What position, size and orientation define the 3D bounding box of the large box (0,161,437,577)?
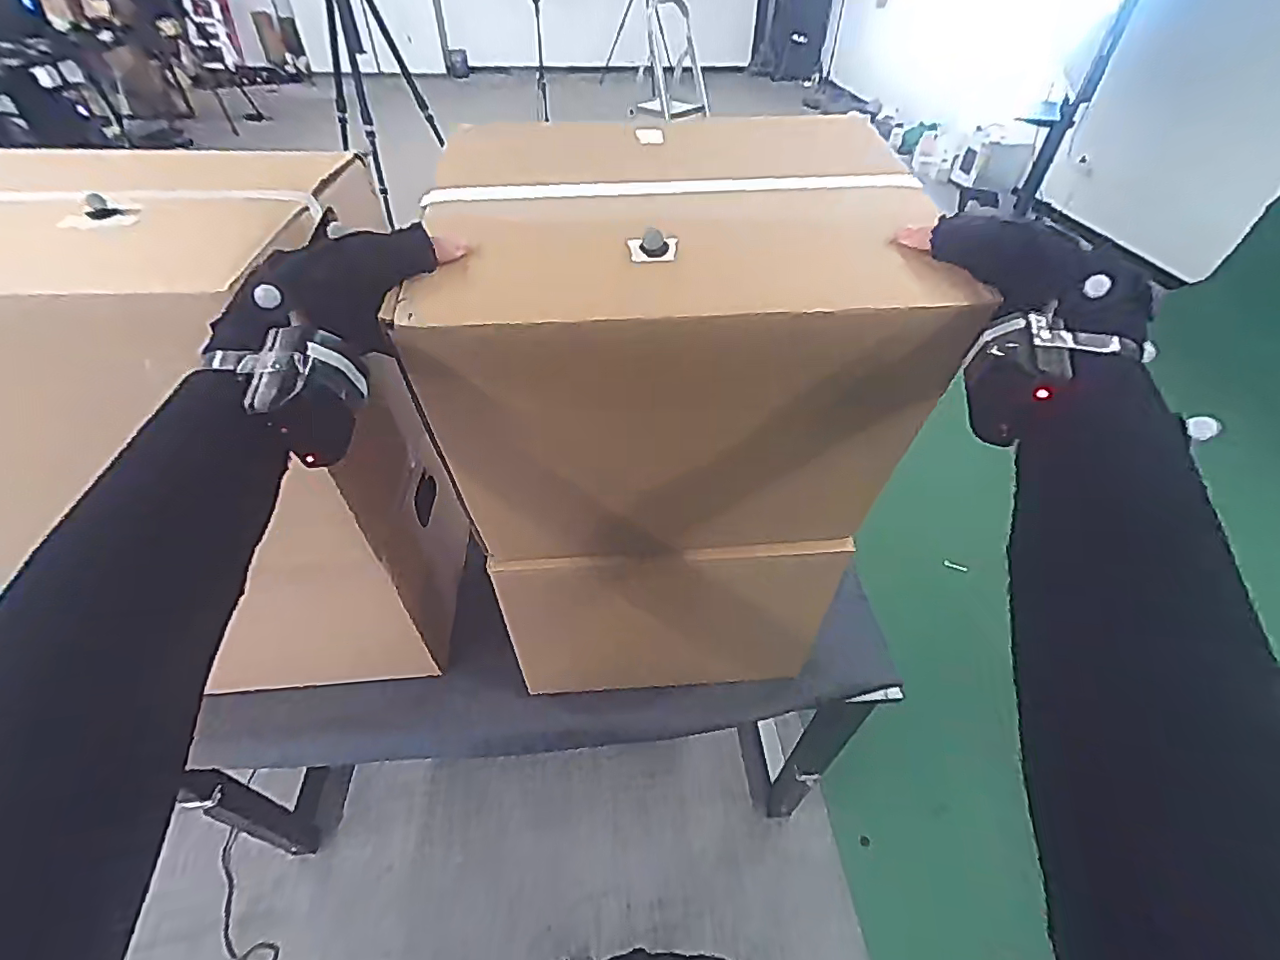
[{"bbox_3d":[-0.474,-0.117,0.565,0.408,0.320,0.320,-1,46,-5],"label":"large box"}]
